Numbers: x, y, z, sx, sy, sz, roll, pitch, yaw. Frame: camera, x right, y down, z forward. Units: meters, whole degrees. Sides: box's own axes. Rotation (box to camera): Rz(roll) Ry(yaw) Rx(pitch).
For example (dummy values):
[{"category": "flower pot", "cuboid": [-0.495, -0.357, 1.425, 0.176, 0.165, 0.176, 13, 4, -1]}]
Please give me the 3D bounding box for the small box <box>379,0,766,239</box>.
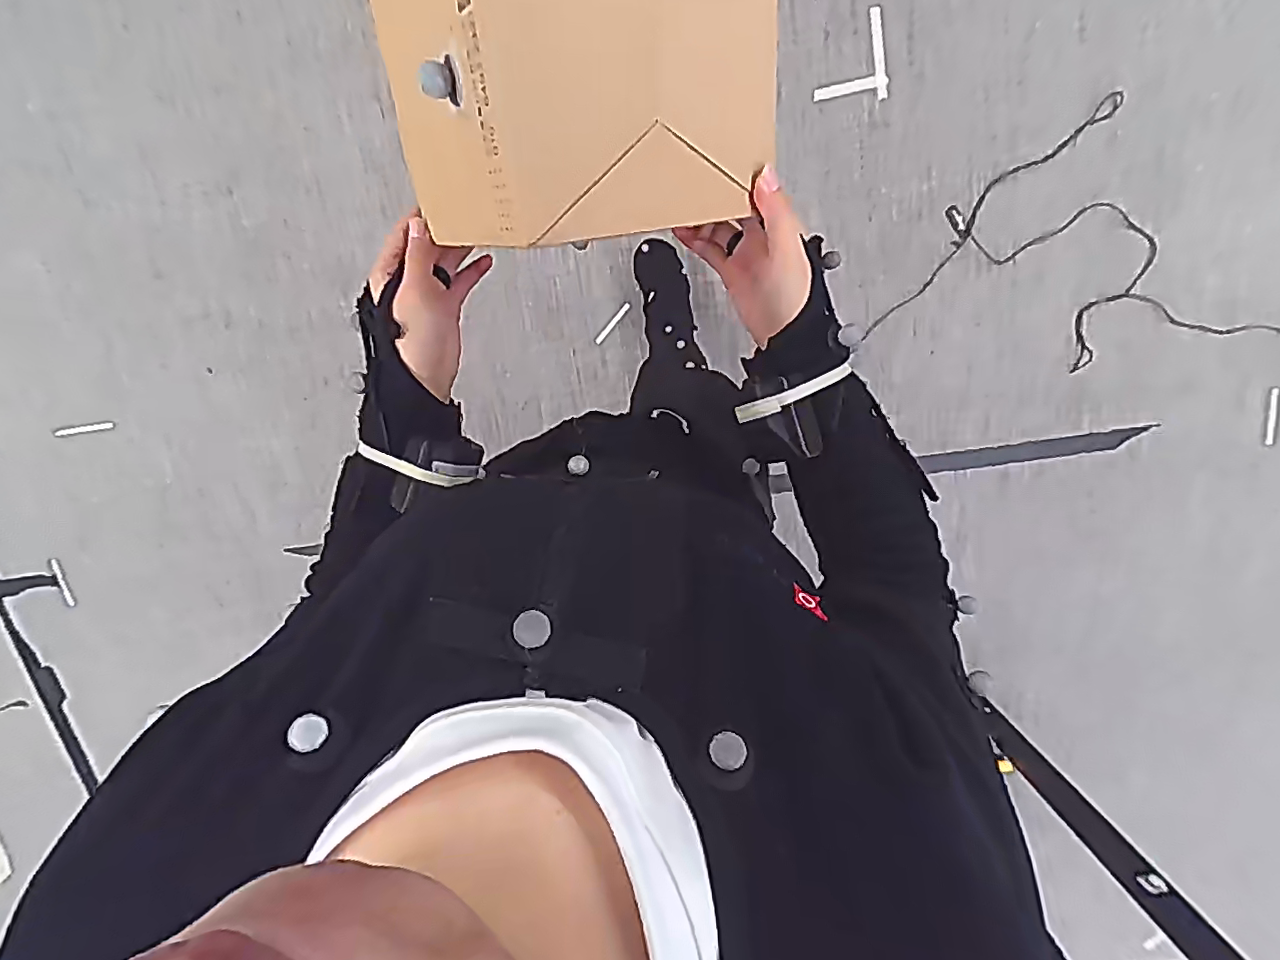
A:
[{"category": "small box", "cuboid": [-0.038, -0.247, 0.332, 0.179, 0.176, 0.168, -22, 121, -29]}]
